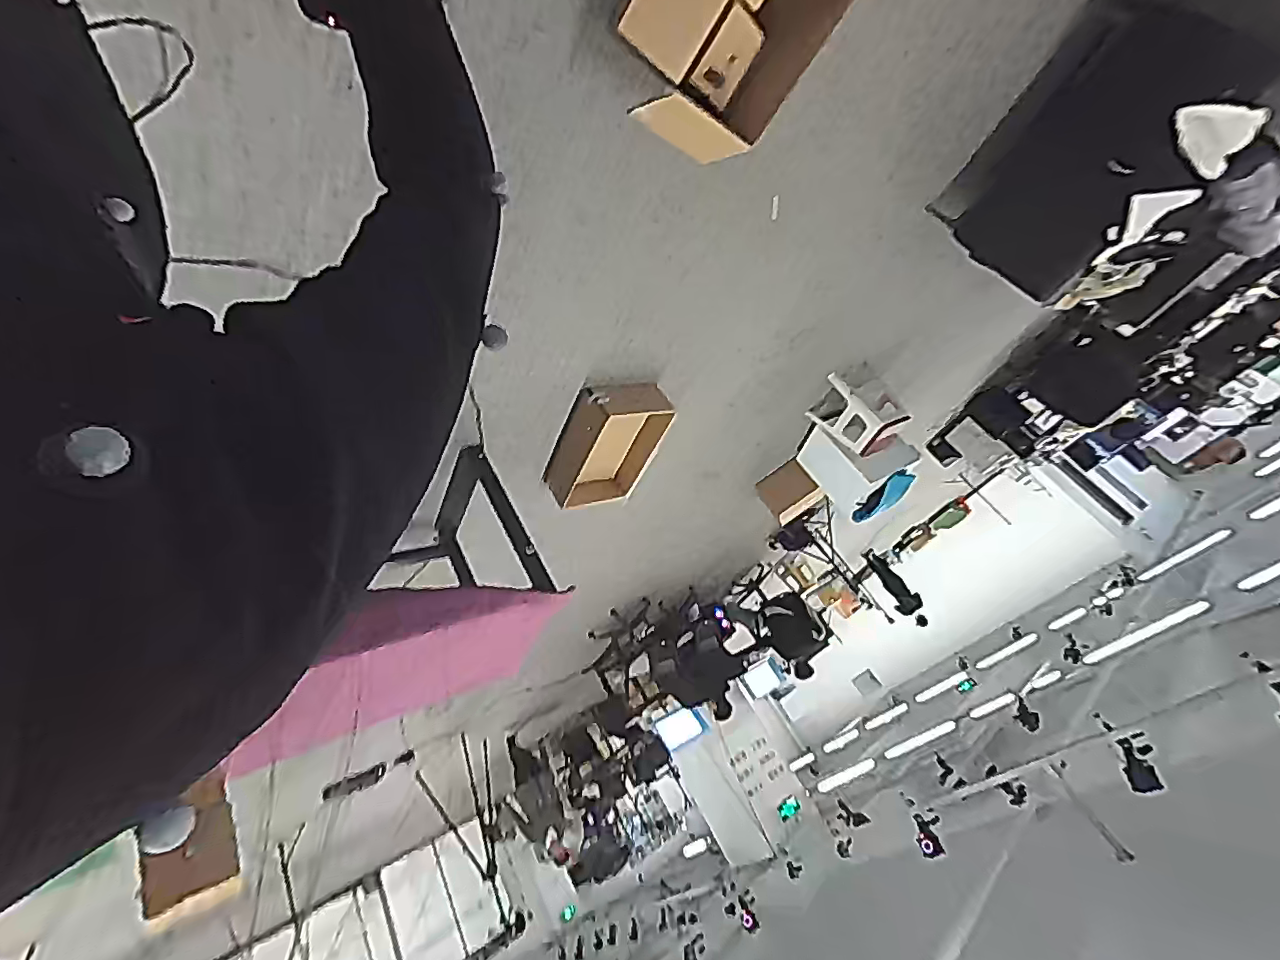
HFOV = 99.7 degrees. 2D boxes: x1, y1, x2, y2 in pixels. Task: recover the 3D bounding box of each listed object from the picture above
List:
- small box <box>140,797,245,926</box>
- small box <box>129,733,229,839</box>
[{"bbox_3d":[-1.020,0.862,1.236,0.168,0.176,0.179,-8,143,-41],"label":"small box"},{"bbox_3d":[-1.108,0.741,1.304,0.168,0.176,0.179,-8,144,-42],"label":"small box"}]
